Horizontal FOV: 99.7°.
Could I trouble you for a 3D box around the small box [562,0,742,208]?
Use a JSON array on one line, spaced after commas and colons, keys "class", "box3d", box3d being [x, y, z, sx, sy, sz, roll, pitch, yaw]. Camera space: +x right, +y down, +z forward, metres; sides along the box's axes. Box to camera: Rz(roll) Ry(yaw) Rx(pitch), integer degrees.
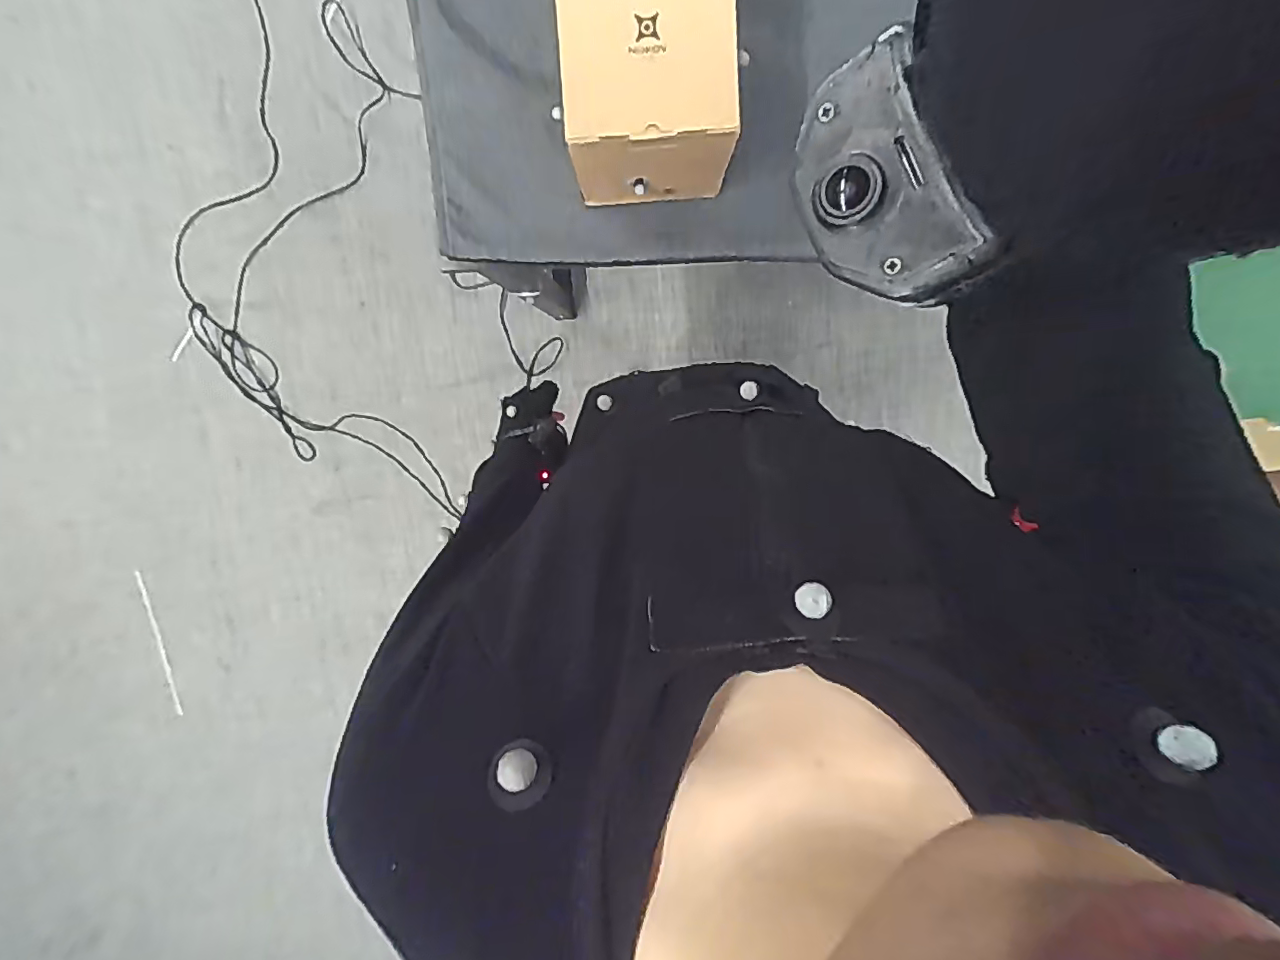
[{"class": "small box", "box3d": [0.011, -0.418, 0.582, 0.168, 0.176, 0.179, -4, 98, 1]}]
